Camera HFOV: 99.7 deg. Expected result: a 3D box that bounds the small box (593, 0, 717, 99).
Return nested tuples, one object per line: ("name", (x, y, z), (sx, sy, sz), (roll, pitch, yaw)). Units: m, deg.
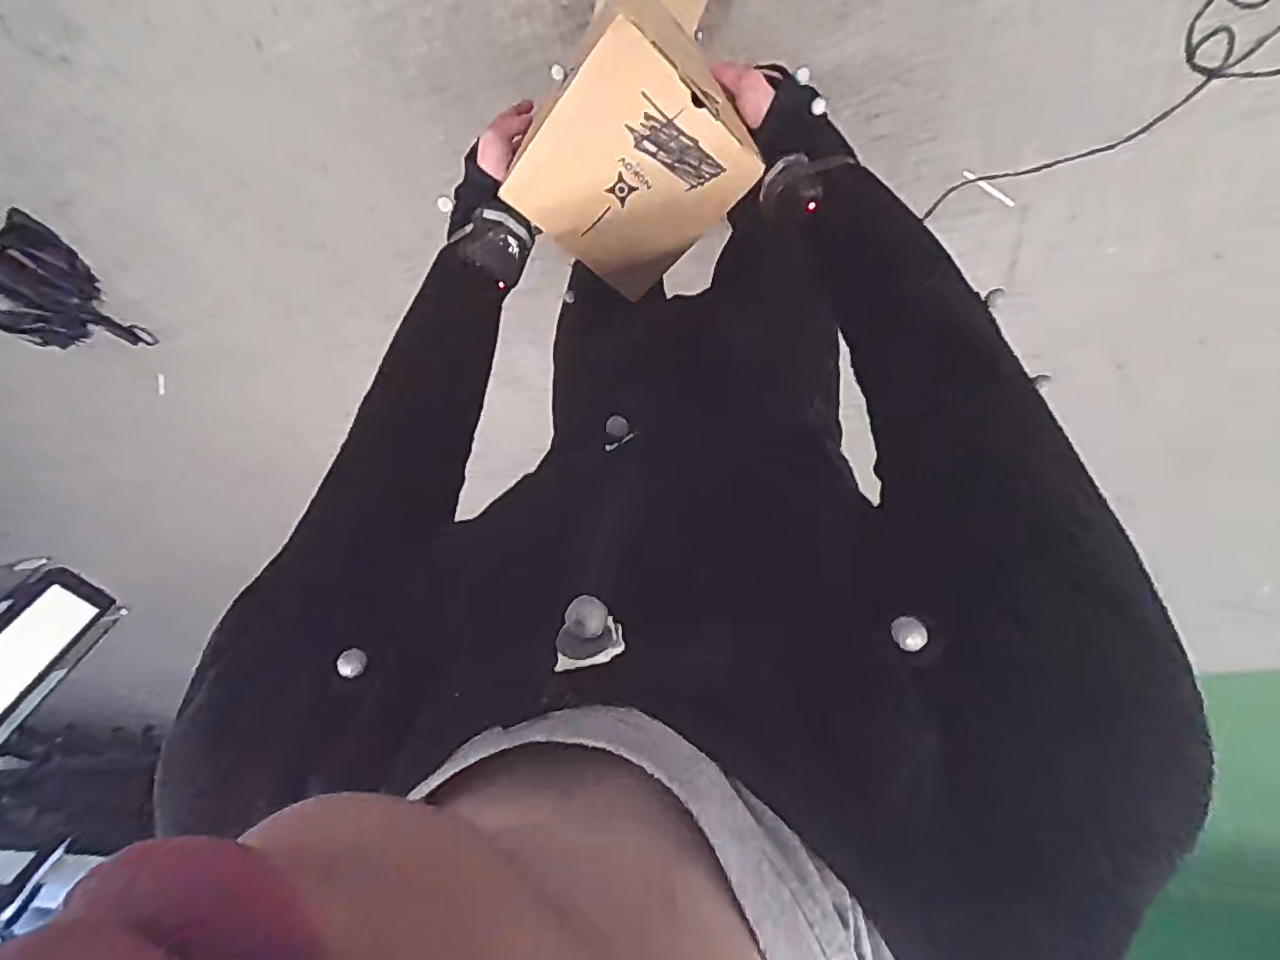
("small box", (0.033, -0.825, 0.962), (0.168, 0.176, 0.179), (22, 131, -12))
